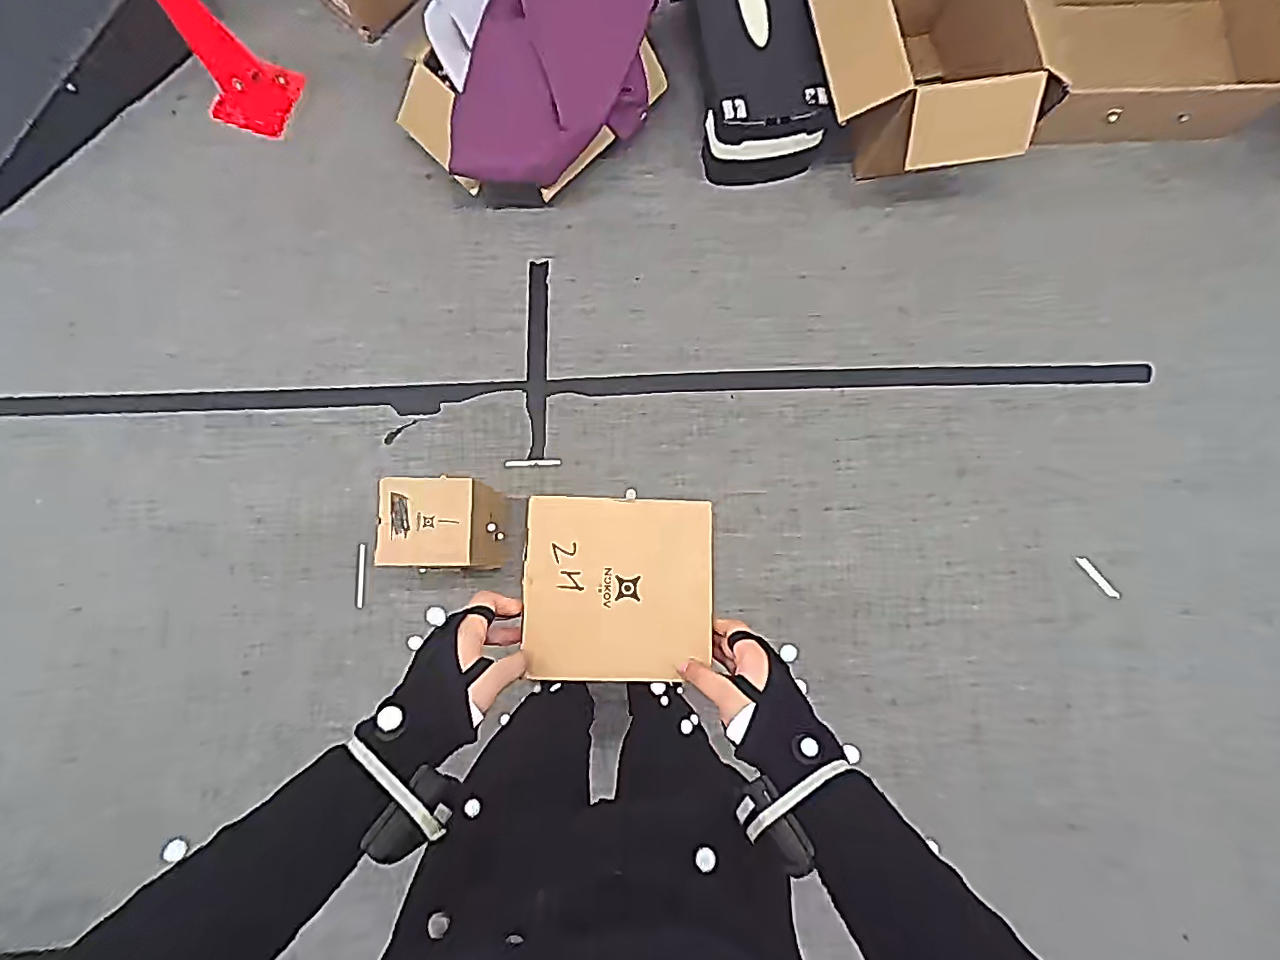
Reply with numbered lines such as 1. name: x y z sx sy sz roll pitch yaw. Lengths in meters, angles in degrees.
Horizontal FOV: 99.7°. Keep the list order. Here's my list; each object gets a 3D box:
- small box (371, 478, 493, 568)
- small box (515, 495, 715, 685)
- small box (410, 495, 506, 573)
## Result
1. small box: -0.403 0.089 1.073 0.179 0.176 0.168 1 82 -2
2. small box: -0.025 0.113 0.568 0.179 0.176 0.168 2 78 -3
3. small box: -0.408 0.117 1.236 0.168 0.176 0.179 1 83 -1
